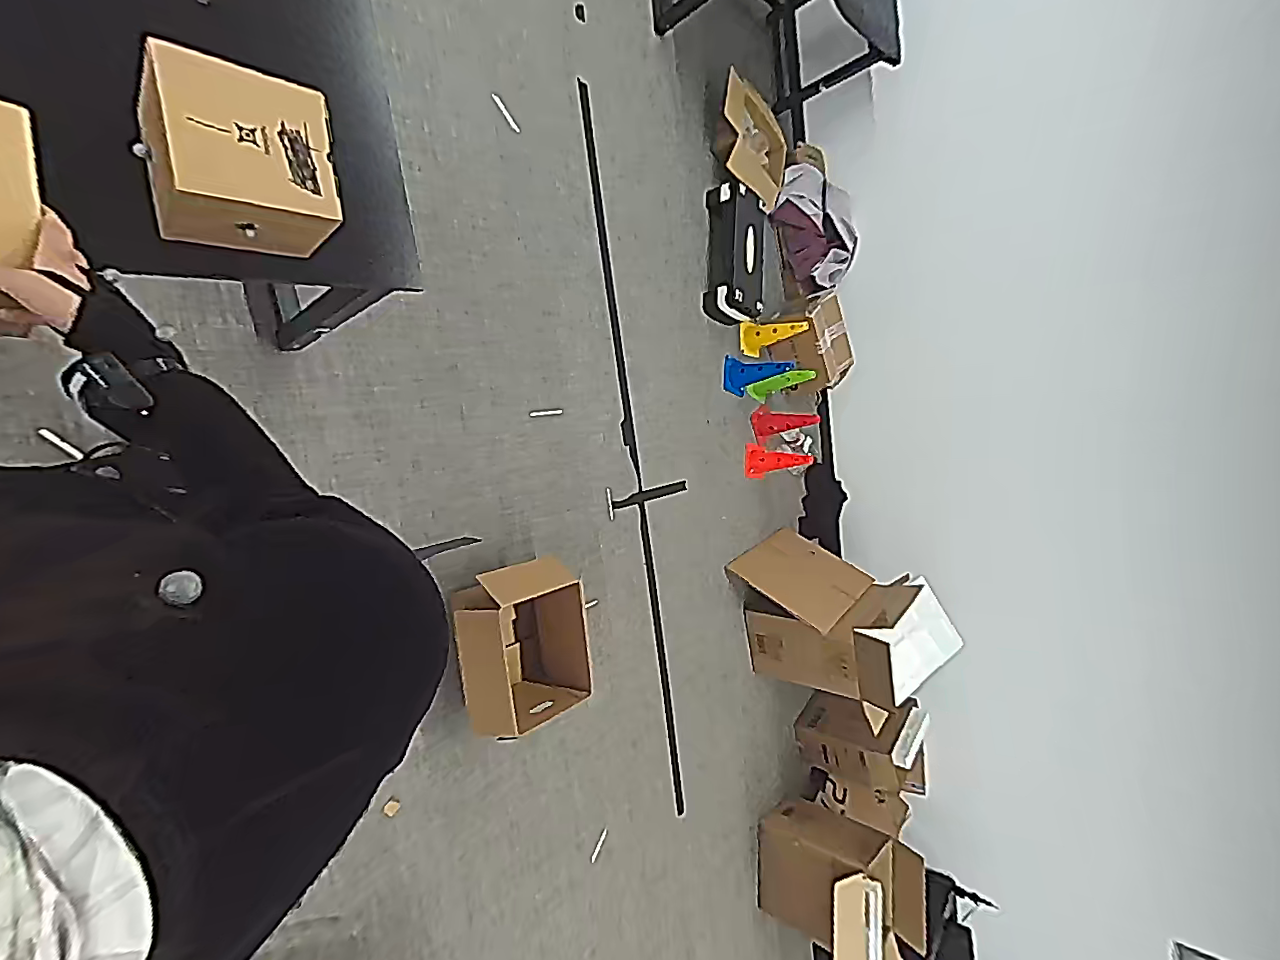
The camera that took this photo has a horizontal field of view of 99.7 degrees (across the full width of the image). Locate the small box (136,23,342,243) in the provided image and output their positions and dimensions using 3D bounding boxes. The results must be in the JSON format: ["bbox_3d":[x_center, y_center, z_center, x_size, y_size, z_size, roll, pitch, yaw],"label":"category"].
[{"bbox_3d":[-0.521,-0.425,0.704,0.179,0.176,0.168,-12,98,-45],"label":"small box"}]

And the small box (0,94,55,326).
[{"bbox_3d":[-0.639,-0.235,0.455,0.179,0.176,0.168,-9,93,-51],"label":"small box"}]
